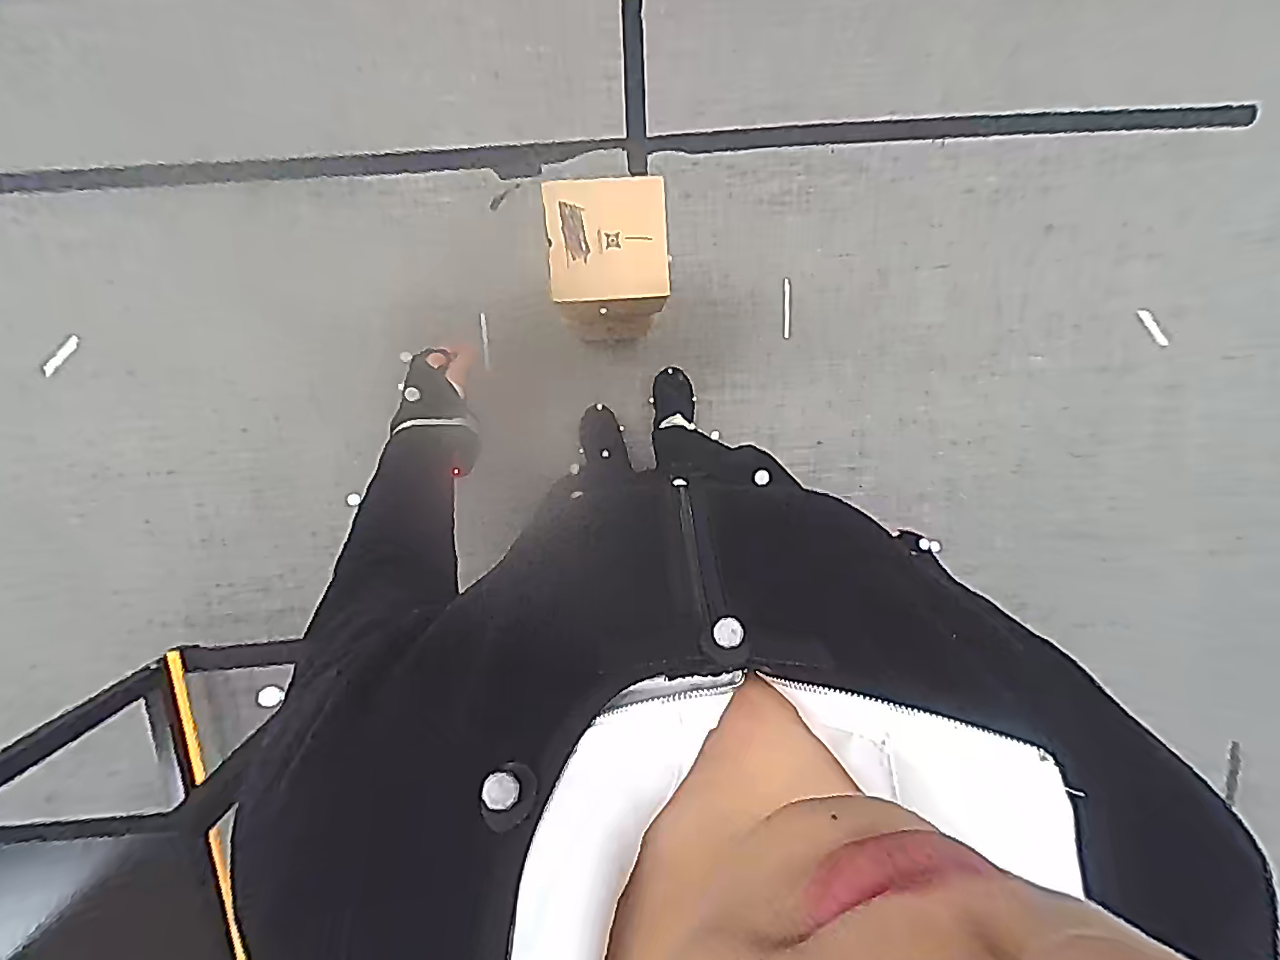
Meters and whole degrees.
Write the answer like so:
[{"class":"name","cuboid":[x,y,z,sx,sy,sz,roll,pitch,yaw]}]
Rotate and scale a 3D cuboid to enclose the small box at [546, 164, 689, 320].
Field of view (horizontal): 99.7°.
[{"class":"small box","cuboid":[-0.029,-0.324,0.768,0.179,0.176,0.168,-4,100,-2]}]
